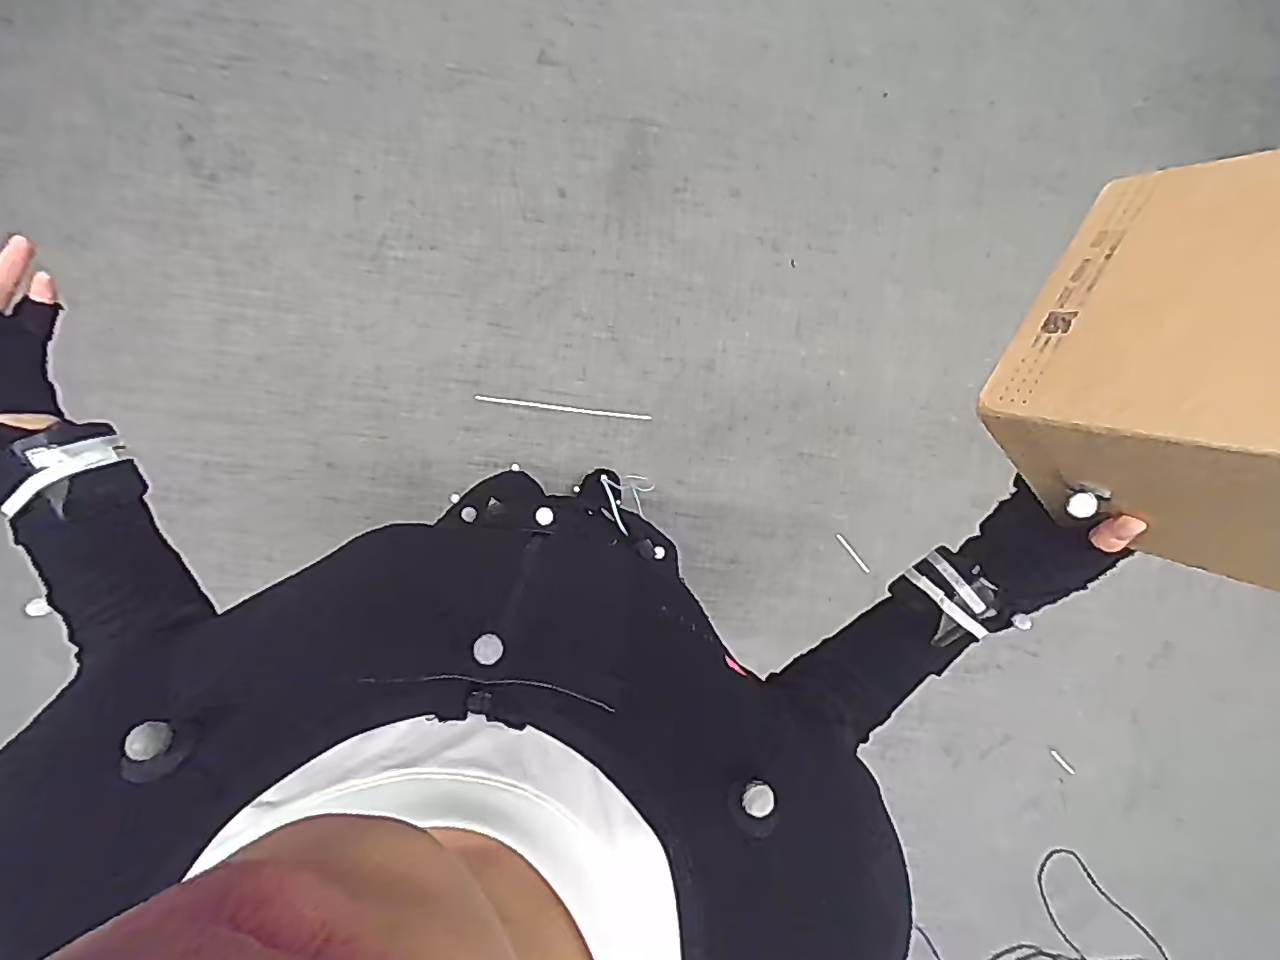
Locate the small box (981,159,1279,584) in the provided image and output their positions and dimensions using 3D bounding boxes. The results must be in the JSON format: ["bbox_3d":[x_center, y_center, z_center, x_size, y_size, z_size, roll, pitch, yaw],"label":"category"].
[{"bbox_3d":[0.337,-0.056,0.301,0.179,0.176,0.168,32,89,-33],"label":"small box"}]
